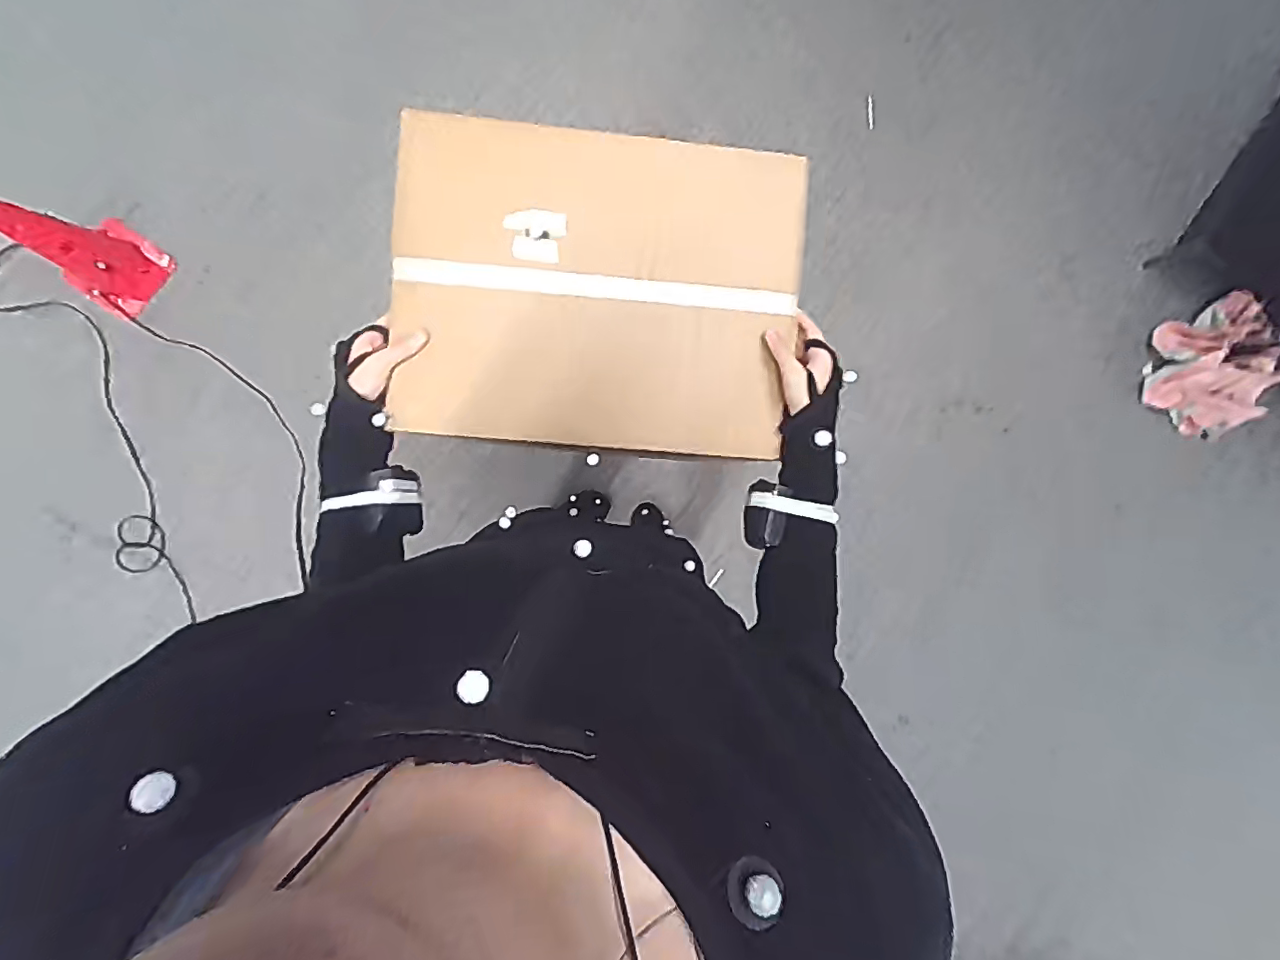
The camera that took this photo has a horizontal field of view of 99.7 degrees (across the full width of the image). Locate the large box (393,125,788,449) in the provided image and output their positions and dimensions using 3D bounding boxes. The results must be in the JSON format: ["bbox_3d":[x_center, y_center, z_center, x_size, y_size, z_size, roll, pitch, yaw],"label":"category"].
[{"bbox_3d":[-0.055,-0.201,0.705,0.408,0.320,0.320,3,91,-4],"label":"large box"}]
